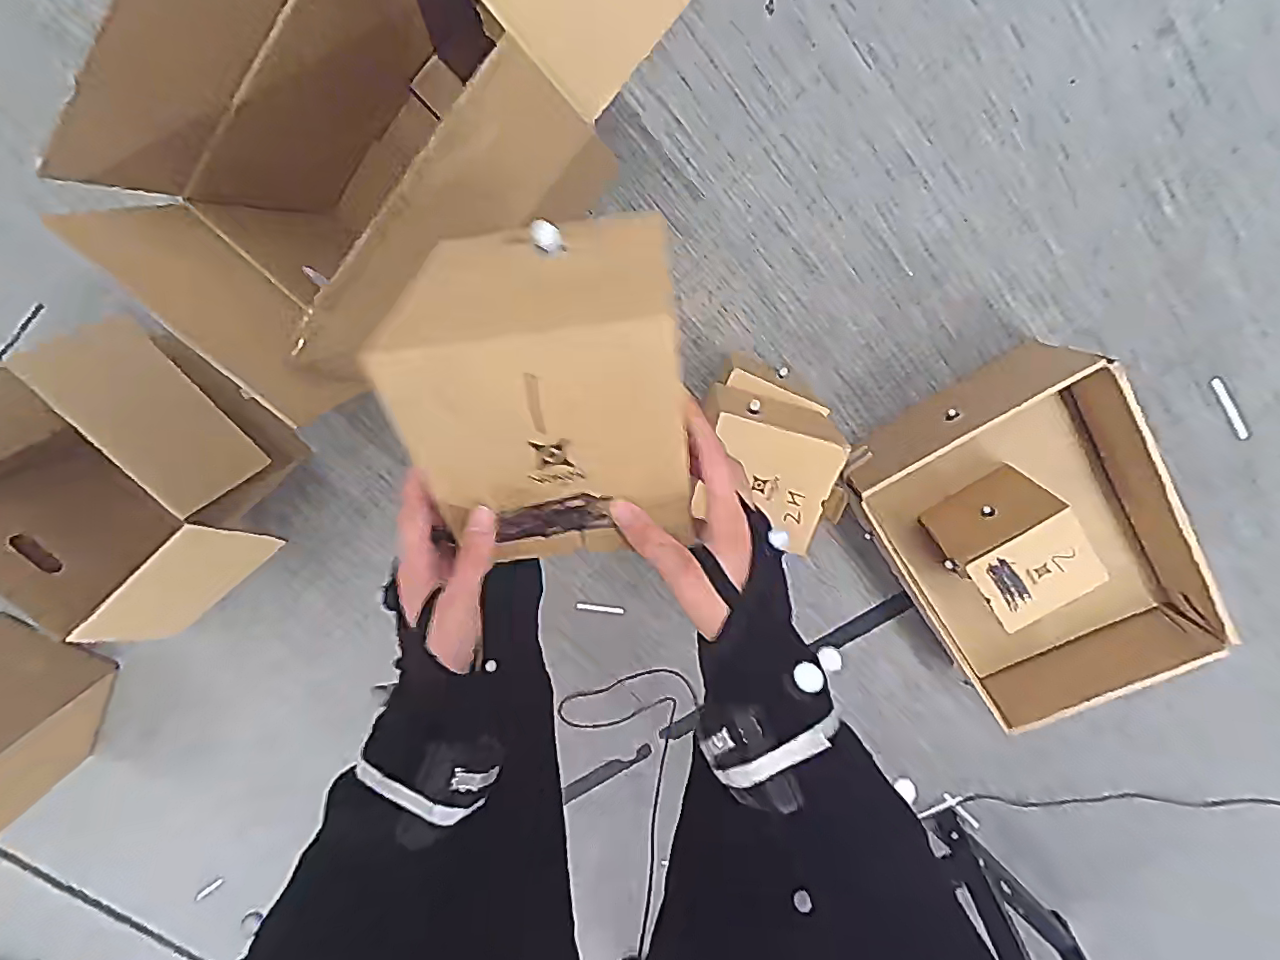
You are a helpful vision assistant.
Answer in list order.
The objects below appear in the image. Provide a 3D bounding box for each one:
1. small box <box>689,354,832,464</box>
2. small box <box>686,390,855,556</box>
[{"bbox_3d":[0.195,-0.094,0.922,0.168,0.176,0.179,24,112,-5],"label":"small box"},{"bbox_3d":[0.172,-0.020,0.775,0.179,0.176,0.168,15,113,-2],"label":"small box"}]
